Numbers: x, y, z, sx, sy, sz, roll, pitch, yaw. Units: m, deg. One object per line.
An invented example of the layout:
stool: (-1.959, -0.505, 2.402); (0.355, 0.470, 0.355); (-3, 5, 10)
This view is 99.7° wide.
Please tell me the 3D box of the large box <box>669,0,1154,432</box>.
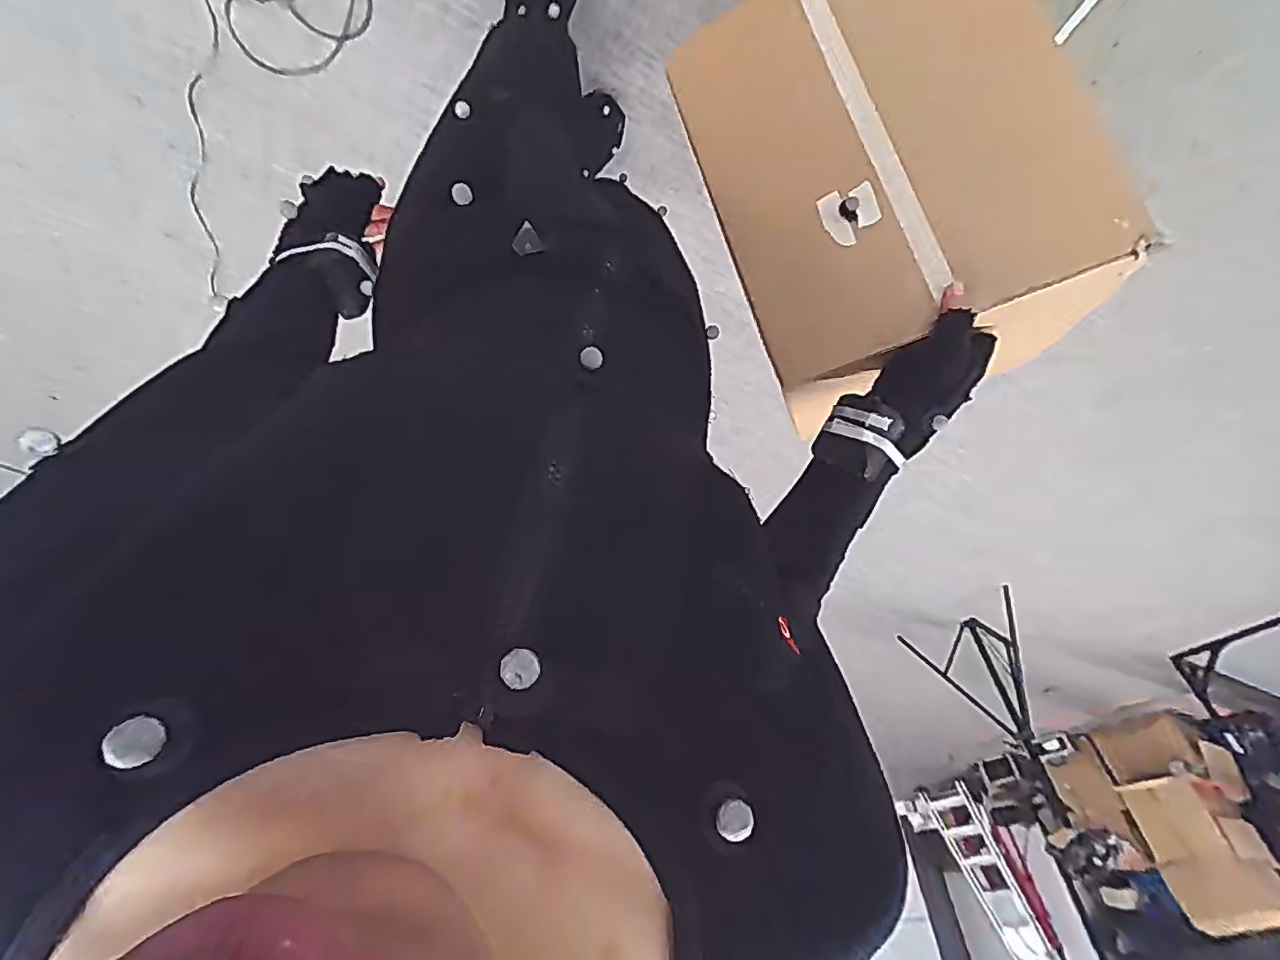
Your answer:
large box: (0.271, -0.315, 0.658); (0.320, 0.408, 0.320); (-20, 169, 17)
